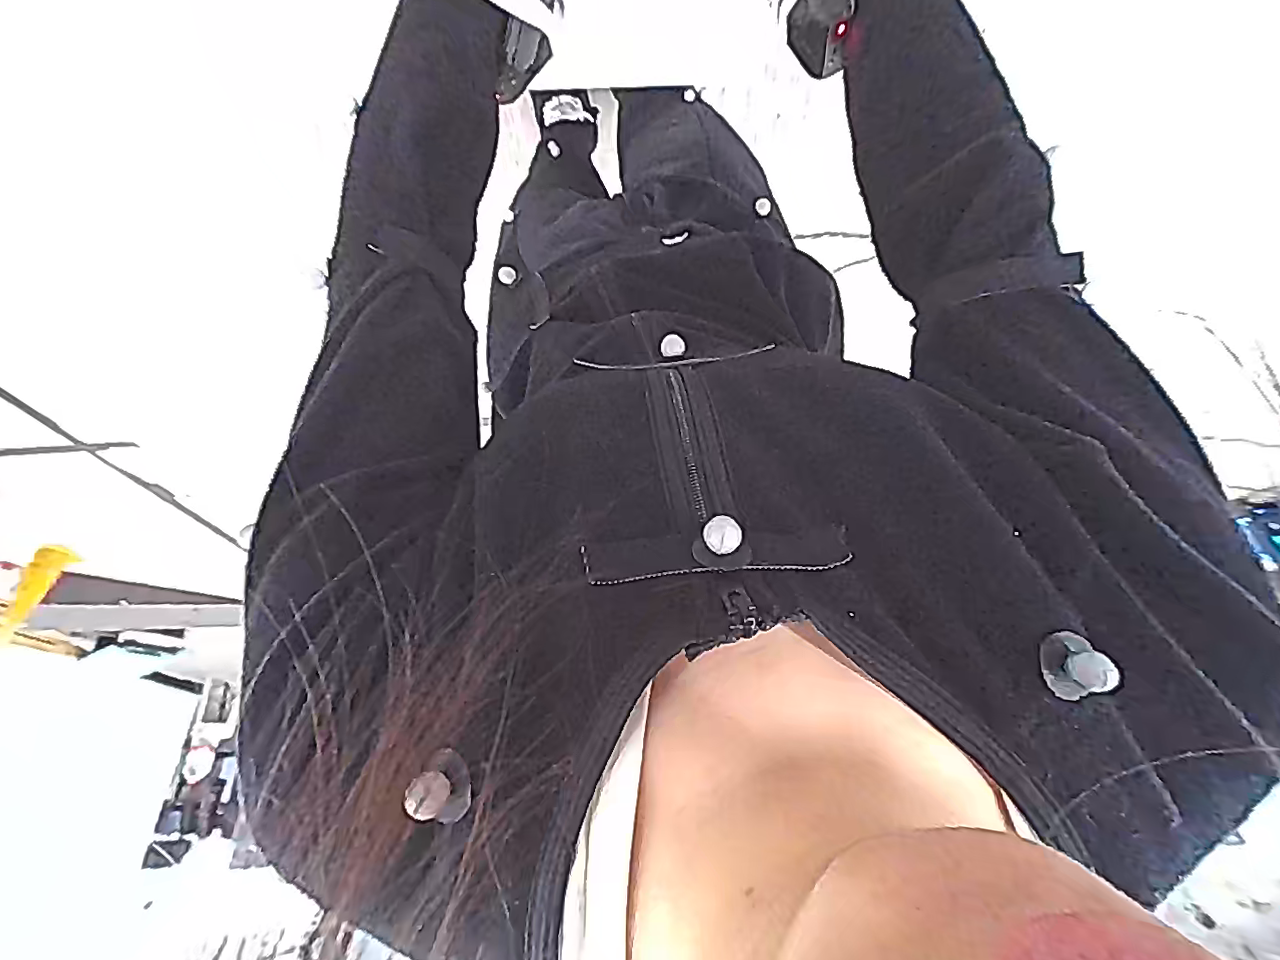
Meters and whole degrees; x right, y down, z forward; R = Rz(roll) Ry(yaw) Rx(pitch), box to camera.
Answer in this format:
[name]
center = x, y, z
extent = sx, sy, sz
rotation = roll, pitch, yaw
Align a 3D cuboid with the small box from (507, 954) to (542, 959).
[small box]
center = -0.405, 1.644, 1.723
extent = 0.168, 0.176, 0.179
rotation = -3, 149, -5
